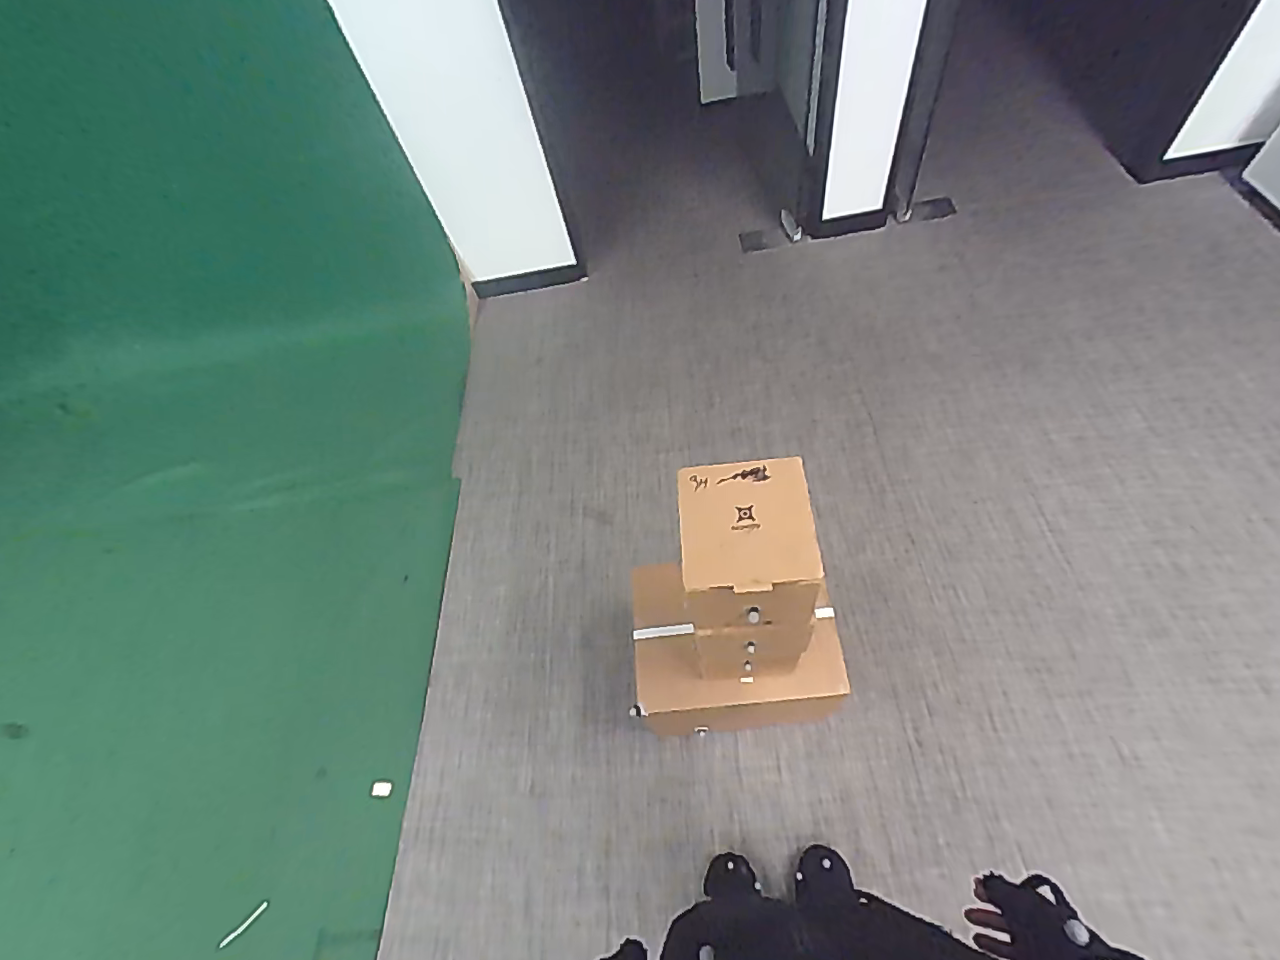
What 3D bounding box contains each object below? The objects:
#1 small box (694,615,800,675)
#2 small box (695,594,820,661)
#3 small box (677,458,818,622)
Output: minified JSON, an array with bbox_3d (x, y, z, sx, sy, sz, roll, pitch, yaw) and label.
[{"bbox_3d":[0.194,0.265,1.020,0.179,0.176,0.168,-6,59,6],"label":"small box"},{"bbox_3d":[0.173,0.185,0.878,0.179,0.176,0.168,-10,58,5],"label":"small box"},{"bbox_3d":[0.144,0.092,0.746,0.168,0.176,0.179,-5,59,9],"label":"small box"}]
